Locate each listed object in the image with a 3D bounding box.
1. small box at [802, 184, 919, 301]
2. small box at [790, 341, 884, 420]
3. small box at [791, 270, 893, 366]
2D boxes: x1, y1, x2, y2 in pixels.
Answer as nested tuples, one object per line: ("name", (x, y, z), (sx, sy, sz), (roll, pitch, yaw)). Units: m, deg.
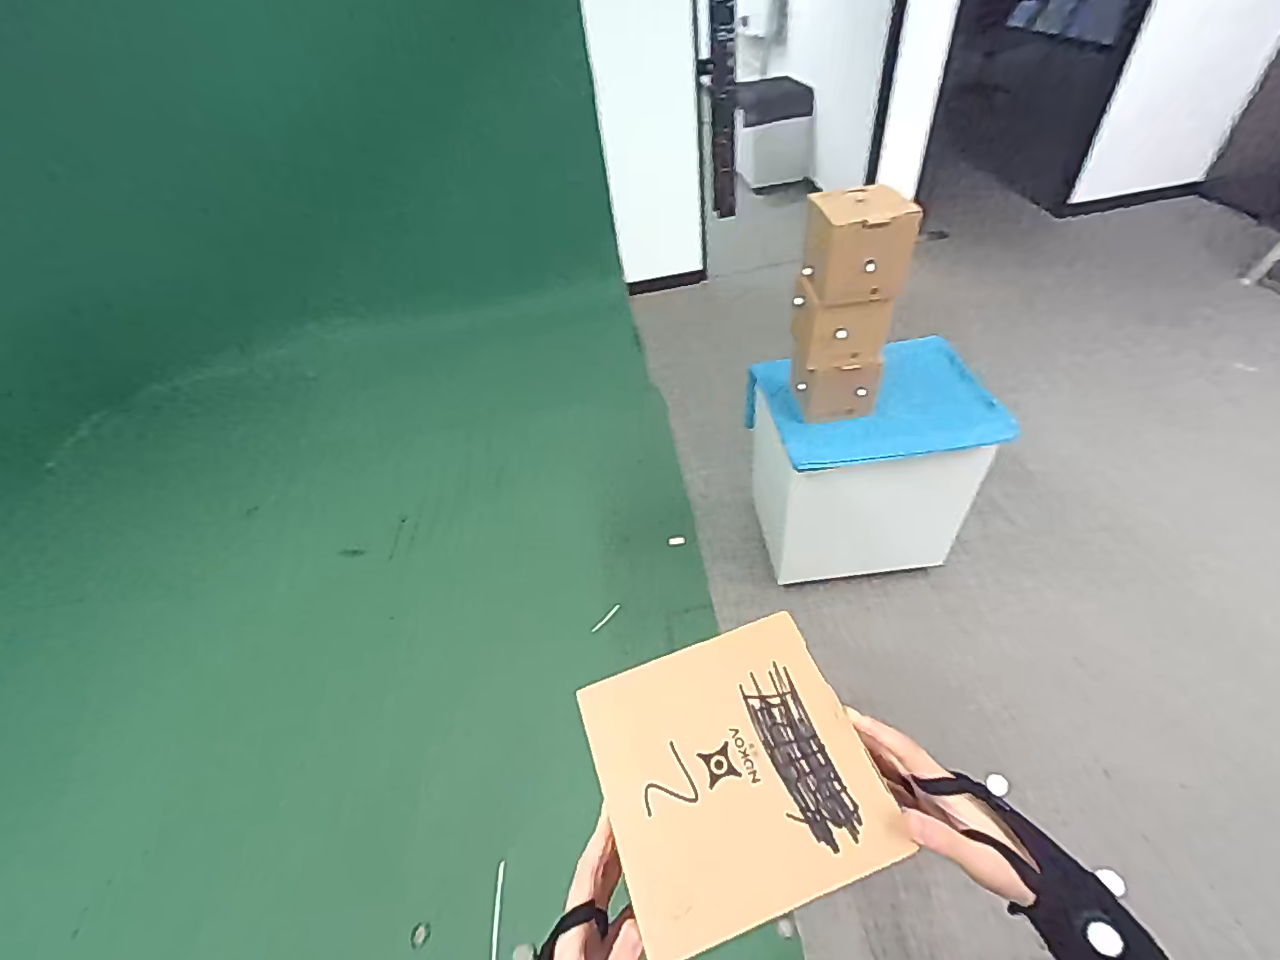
("small box", (0.441, -0.481, 1.112), (0.168, 0.176, 0.179), (-6, 45, 2))
("small box", (0.482, -0.262, 1.350), (0.168, 0.176, 0.179), (-7, 44, 1))
("small box", (0.452, -0.373, 1.236), (0.168, 0.176, 0.179), (-6, 44, 2))
